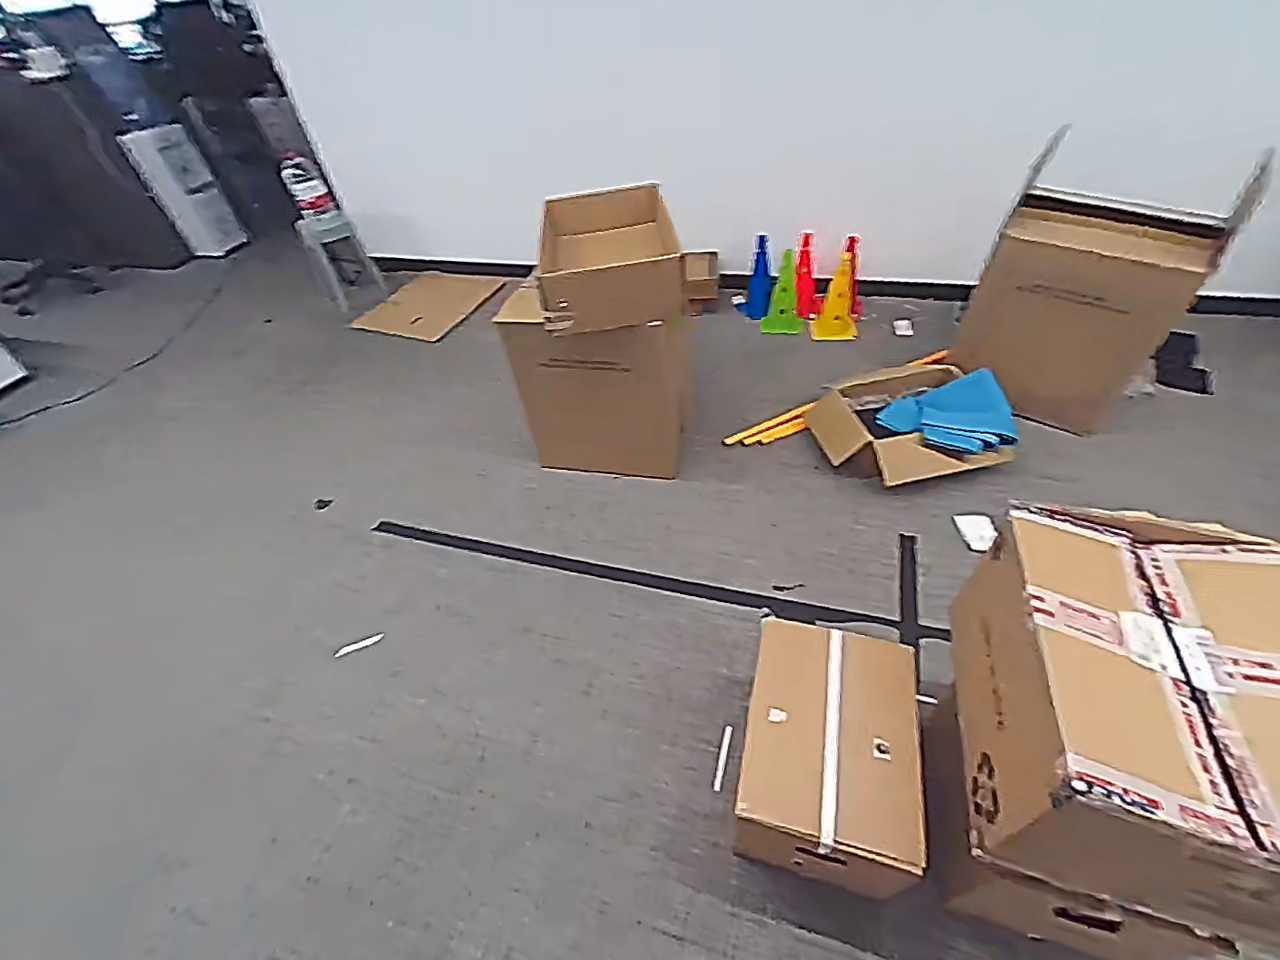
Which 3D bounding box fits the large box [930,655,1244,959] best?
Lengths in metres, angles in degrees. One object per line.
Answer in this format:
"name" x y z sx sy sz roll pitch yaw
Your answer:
"large box" 0.787 0.619 1.047 0.320 0.320 0.408 8 48 15
